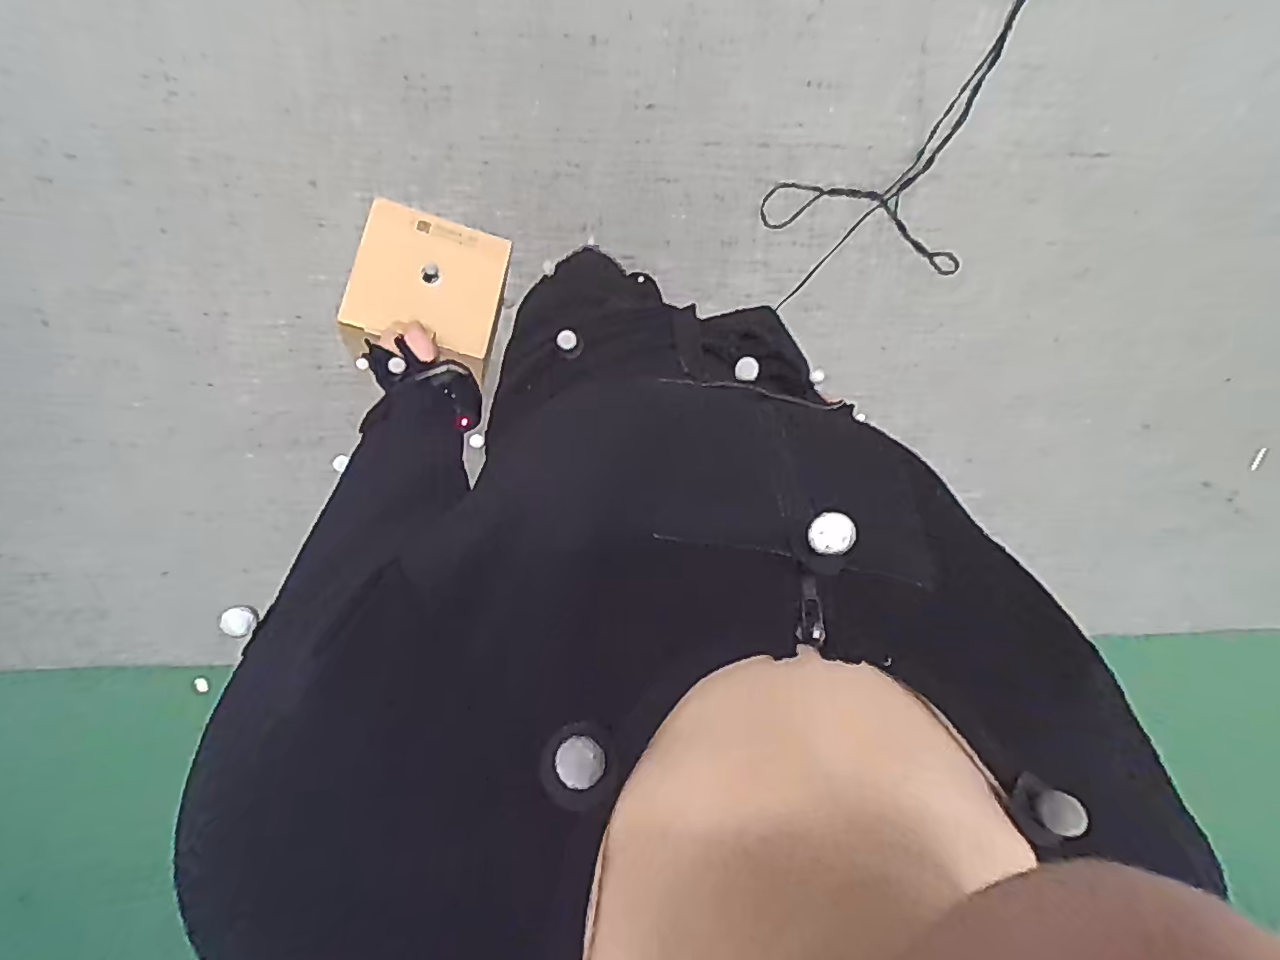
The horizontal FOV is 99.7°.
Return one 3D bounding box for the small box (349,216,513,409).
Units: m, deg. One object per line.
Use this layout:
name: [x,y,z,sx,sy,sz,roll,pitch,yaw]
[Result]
small box: [-0.272,-0.217,0.729,0.168,0.179,0.176,12,76,-16]
